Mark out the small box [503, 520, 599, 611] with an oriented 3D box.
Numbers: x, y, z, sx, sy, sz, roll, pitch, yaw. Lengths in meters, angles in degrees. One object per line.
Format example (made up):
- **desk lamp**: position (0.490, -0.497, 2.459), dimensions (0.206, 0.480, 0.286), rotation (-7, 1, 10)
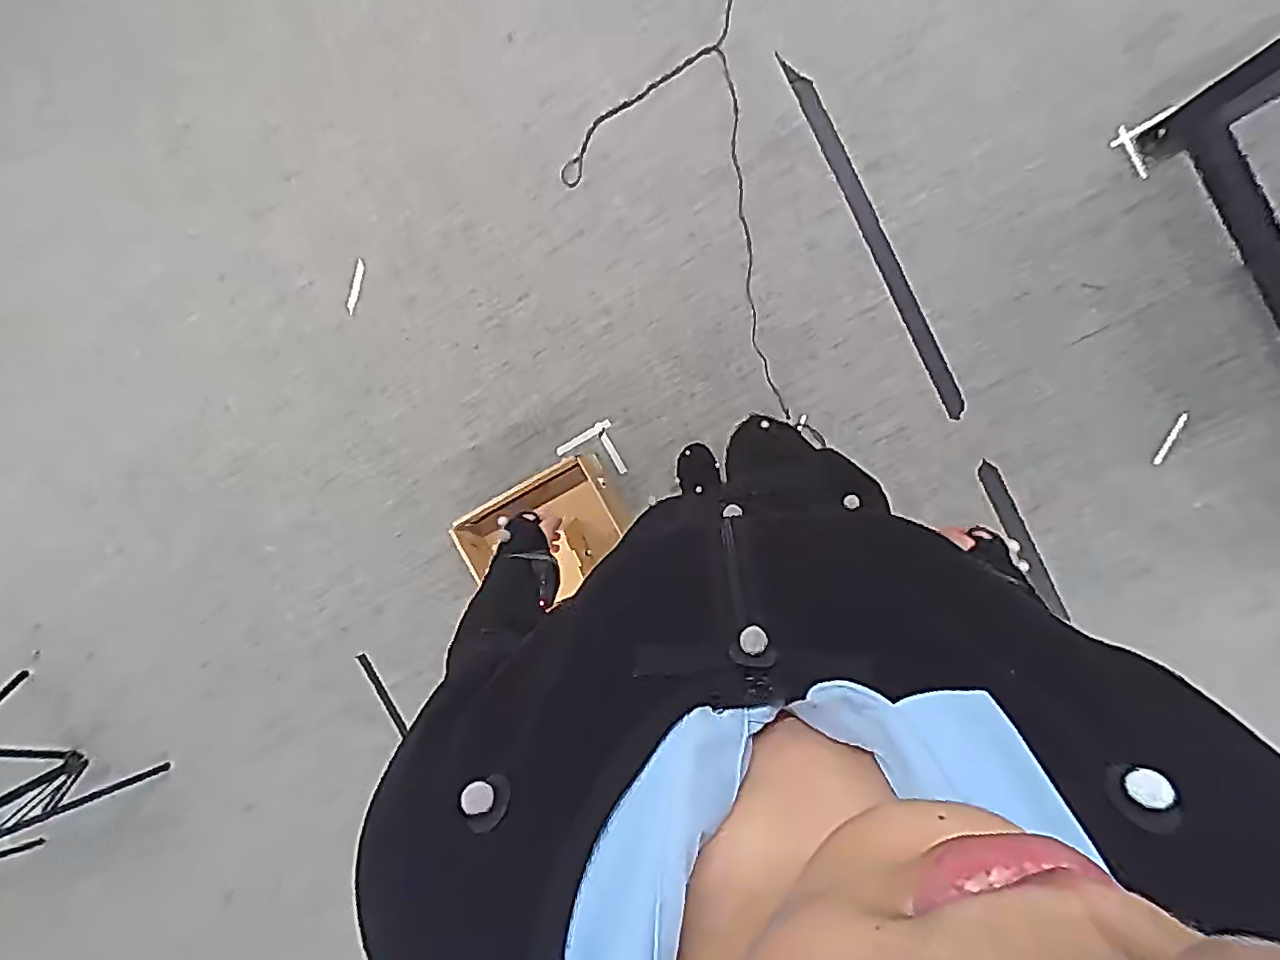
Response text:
- **small box**: position (-0.228, 0.219, 1.427), dimensions (0.179, 0.176, 0.168), rotation (-23, 93, 8)
